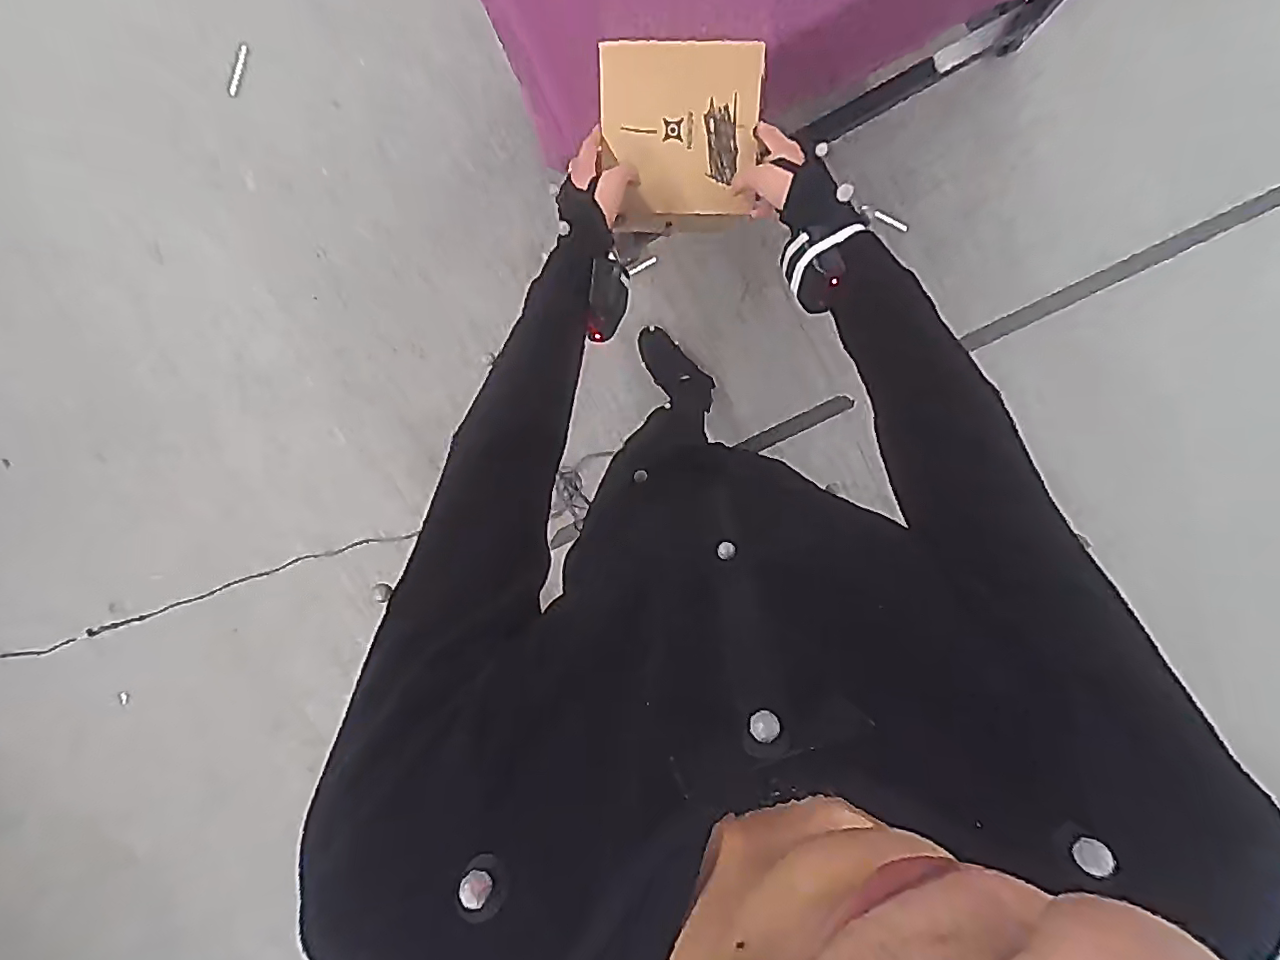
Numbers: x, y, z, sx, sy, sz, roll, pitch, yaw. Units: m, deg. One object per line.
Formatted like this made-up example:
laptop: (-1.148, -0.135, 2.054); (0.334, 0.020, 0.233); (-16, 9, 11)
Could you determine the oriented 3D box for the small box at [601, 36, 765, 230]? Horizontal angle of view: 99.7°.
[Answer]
small box: (0.043, -0.409, 0.665); (0.179, 0.176, 0.168); (1, 108, 0)
